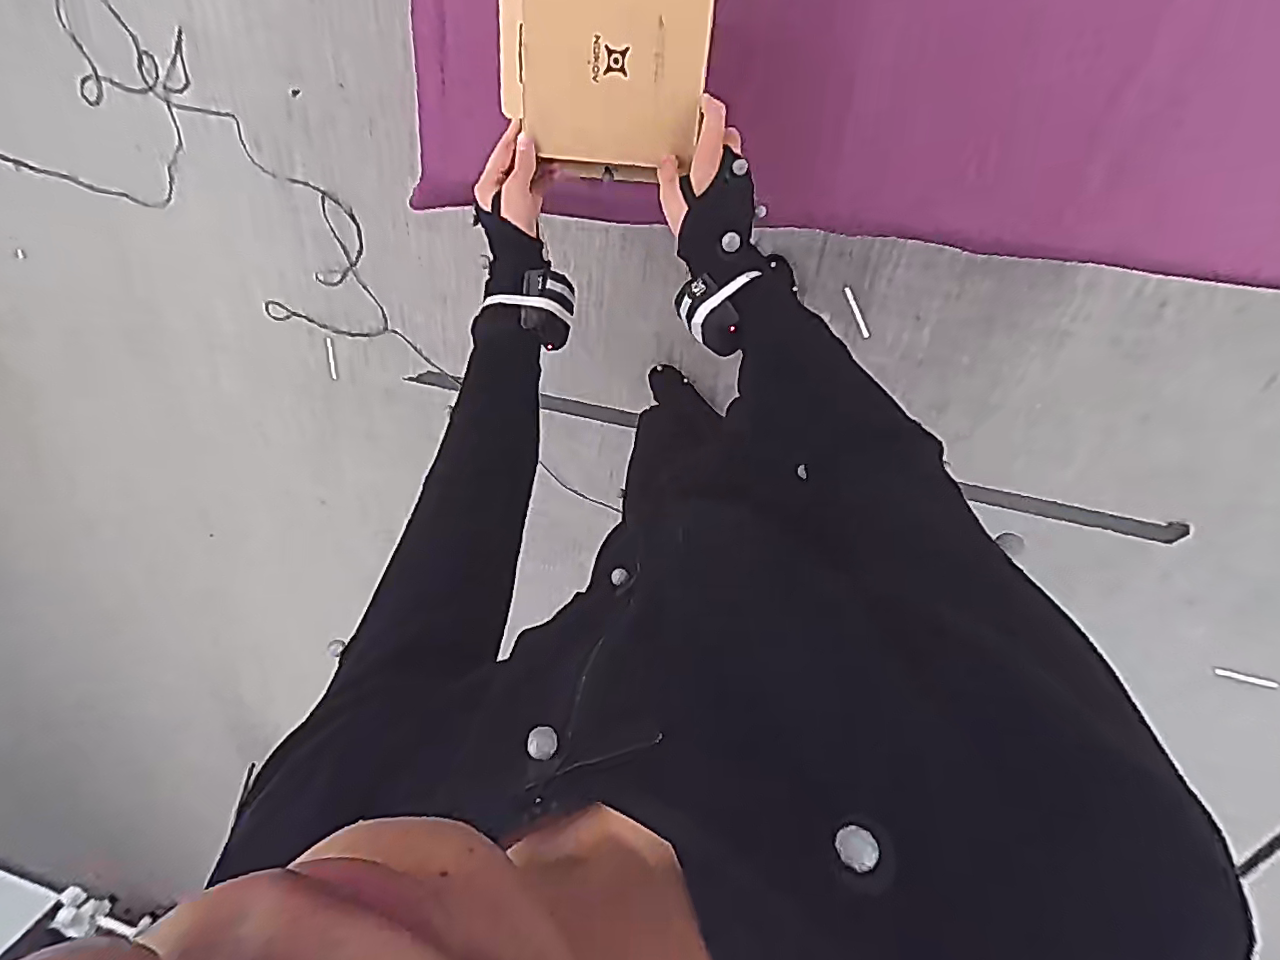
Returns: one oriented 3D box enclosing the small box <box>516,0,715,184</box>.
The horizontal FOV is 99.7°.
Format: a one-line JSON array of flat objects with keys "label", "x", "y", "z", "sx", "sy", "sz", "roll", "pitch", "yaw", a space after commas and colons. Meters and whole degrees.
[{"label": "small box", "x": -0.020, "y": -0.416, "z": 0.568, "sx": 0.179, "sy": 0.176, "sz": 0.168, "roll": 7, "pitch": 115, "yaw": 3}]
